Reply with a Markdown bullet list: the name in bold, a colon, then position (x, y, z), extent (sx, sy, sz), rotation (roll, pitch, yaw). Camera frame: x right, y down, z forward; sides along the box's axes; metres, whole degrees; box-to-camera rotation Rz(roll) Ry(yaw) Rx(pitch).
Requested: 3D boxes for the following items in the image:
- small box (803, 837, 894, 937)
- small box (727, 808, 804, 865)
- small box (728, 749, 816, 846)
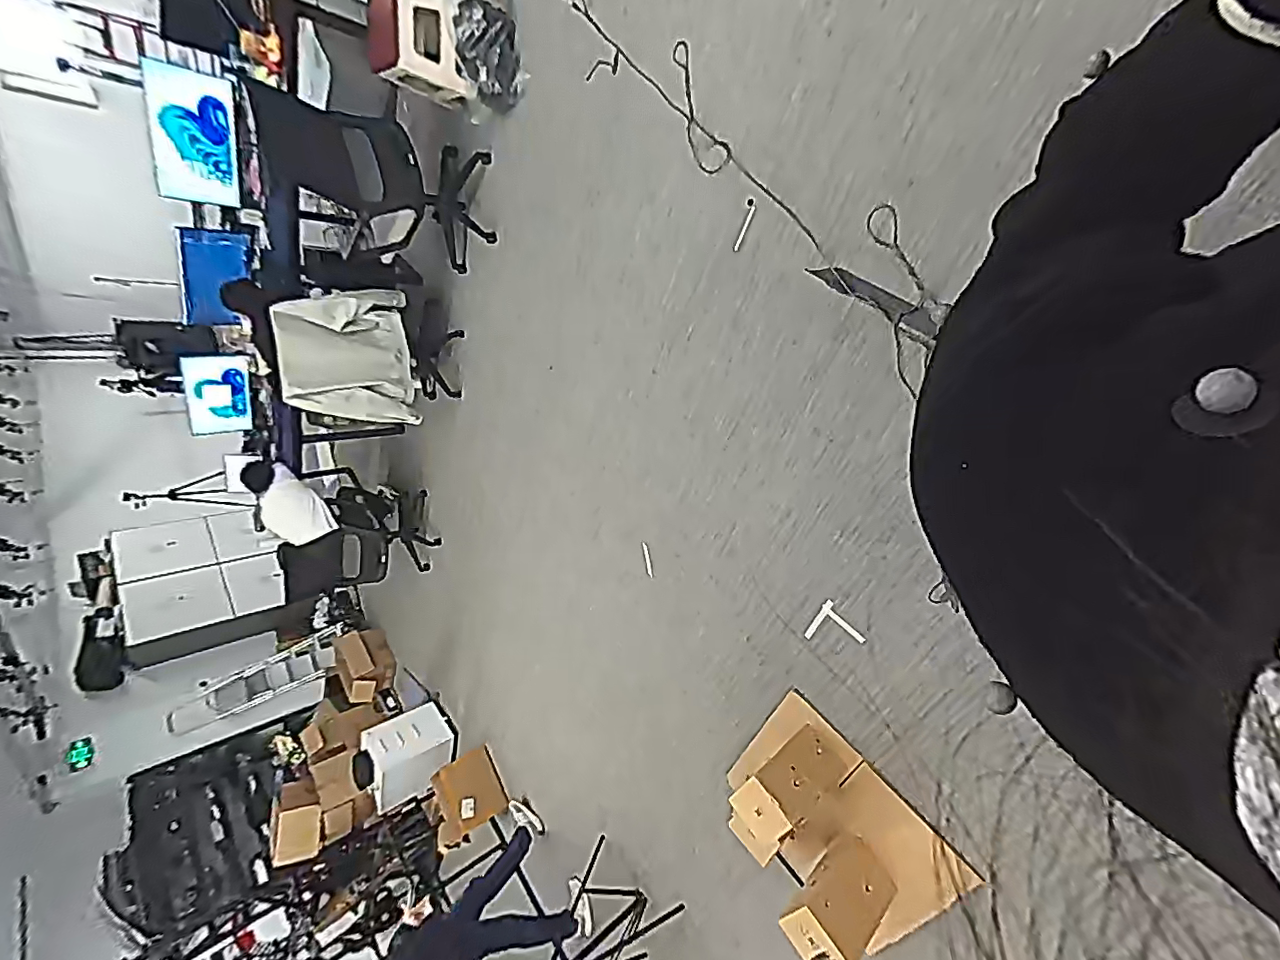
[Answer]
- **small box**: position (0.666, 1.289, 1.719), extent (0.179, 0.176, 0.168), rotation (51, 131, 24)
- **small box**: position (0.449, 1.214, 1.937), extent (0.179, 0.176, 0.168), rotation (40, 127, 35)
- **small box**: position (0.413, 0.980, 1.677), extent (0.168, 0.176, 0.179), rotation (47, 128, 29)
